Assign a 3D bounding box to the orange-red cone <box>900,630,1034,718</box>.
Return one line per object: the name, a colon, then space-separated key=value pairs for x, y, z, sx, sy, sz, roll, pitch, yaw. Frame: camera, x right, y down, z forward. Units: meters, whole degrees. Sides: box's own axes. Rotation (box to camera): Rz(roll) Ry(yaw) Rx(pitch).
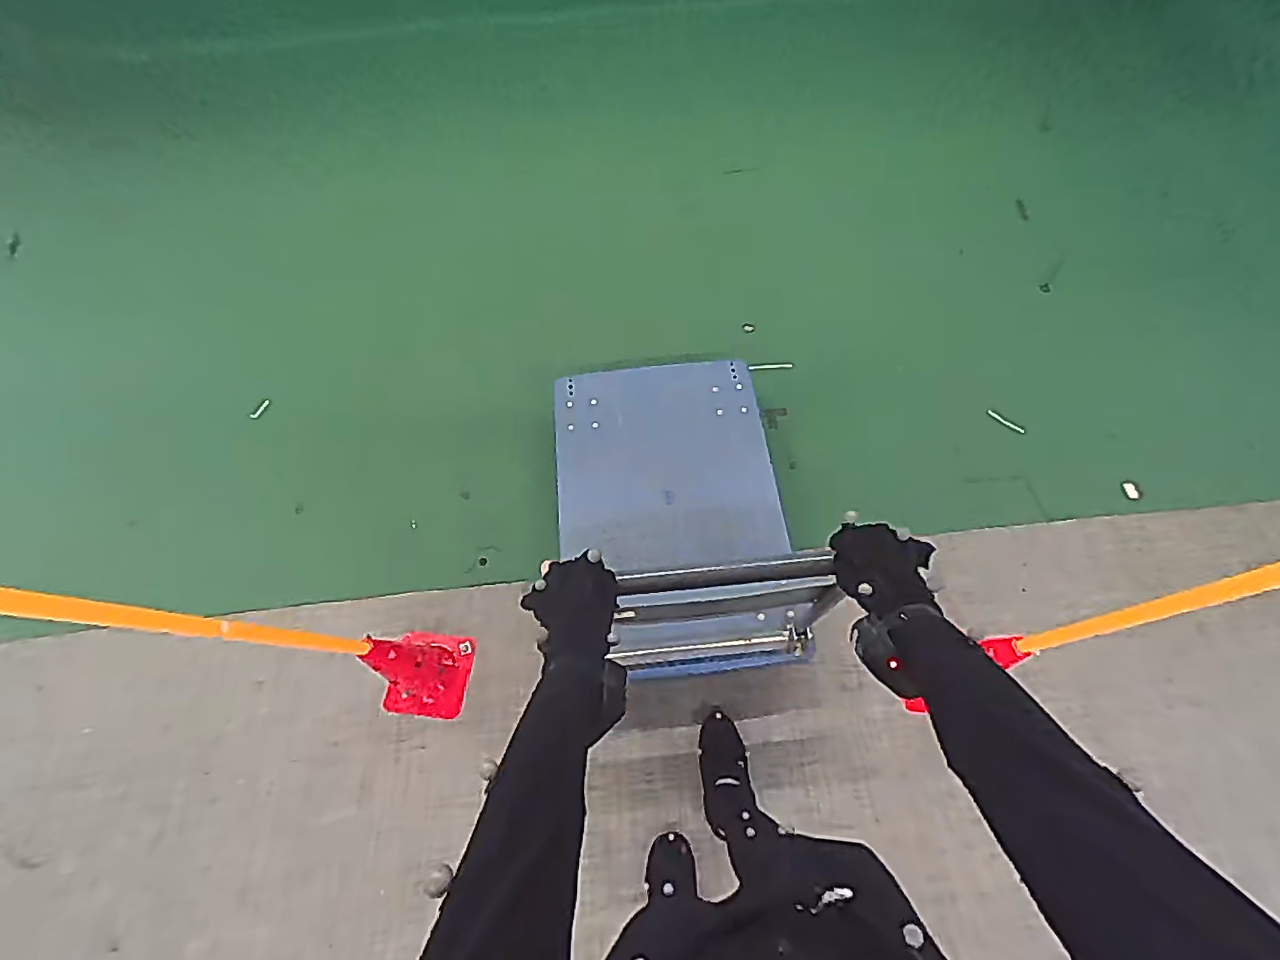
orange-red cone: x=0.747 y=0.403 z=1.193 sx=0.198 sy=0.360 sz=0.199 roll=3 pitch=64 yaw=5
